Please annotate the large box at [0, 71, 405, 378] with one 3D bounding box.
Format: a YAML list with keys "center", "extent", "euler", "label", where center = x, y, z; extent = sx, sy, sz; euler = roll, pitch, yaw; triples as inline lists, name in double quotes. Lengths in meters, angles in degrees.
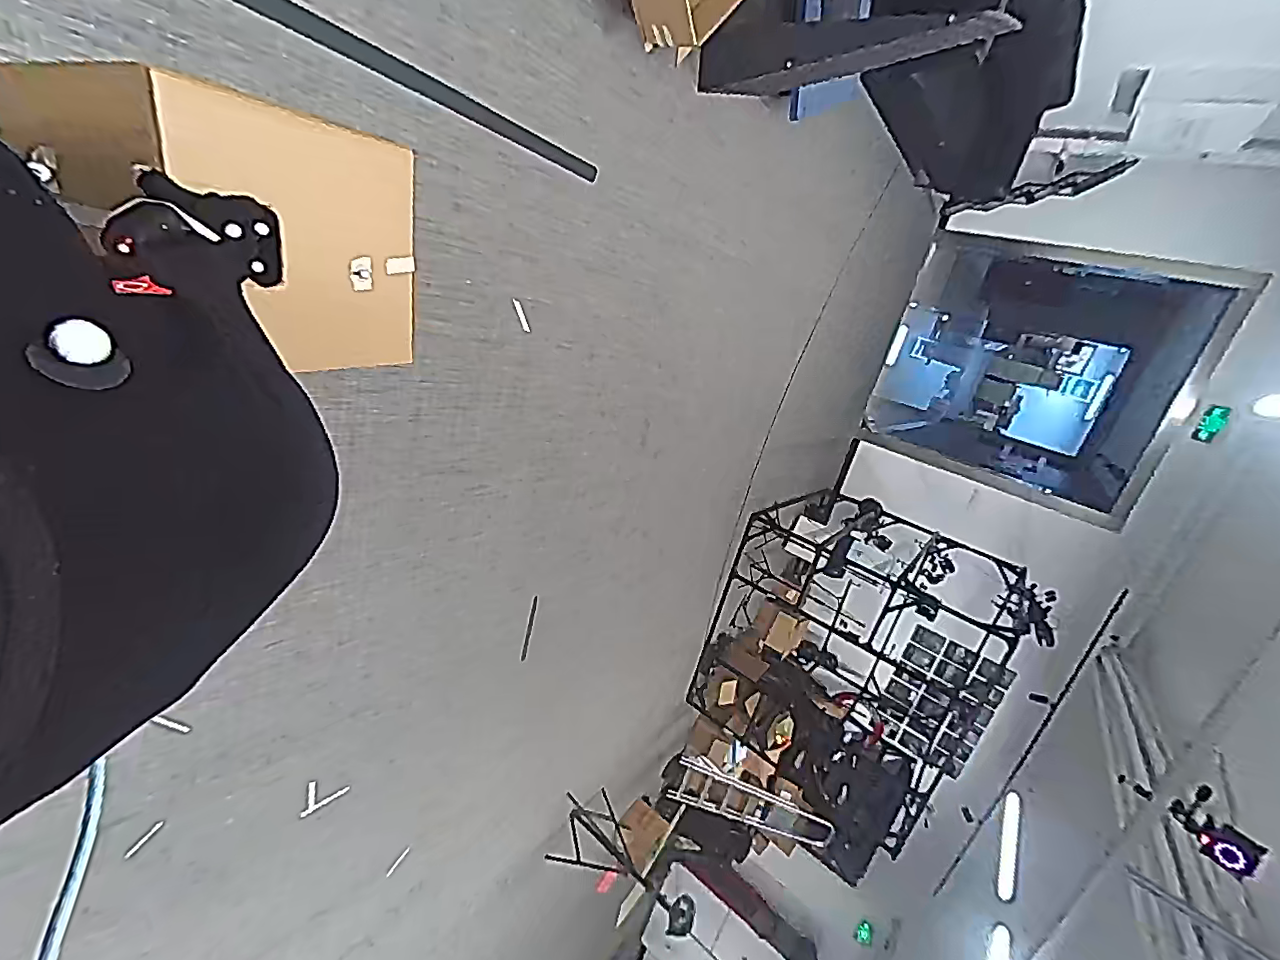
- center: [-0.604, -0.354, 0.787]
  extent: [0.320, 0.408, 0.320]
  euler: [-27, 132, -58]
  label: "large box"
